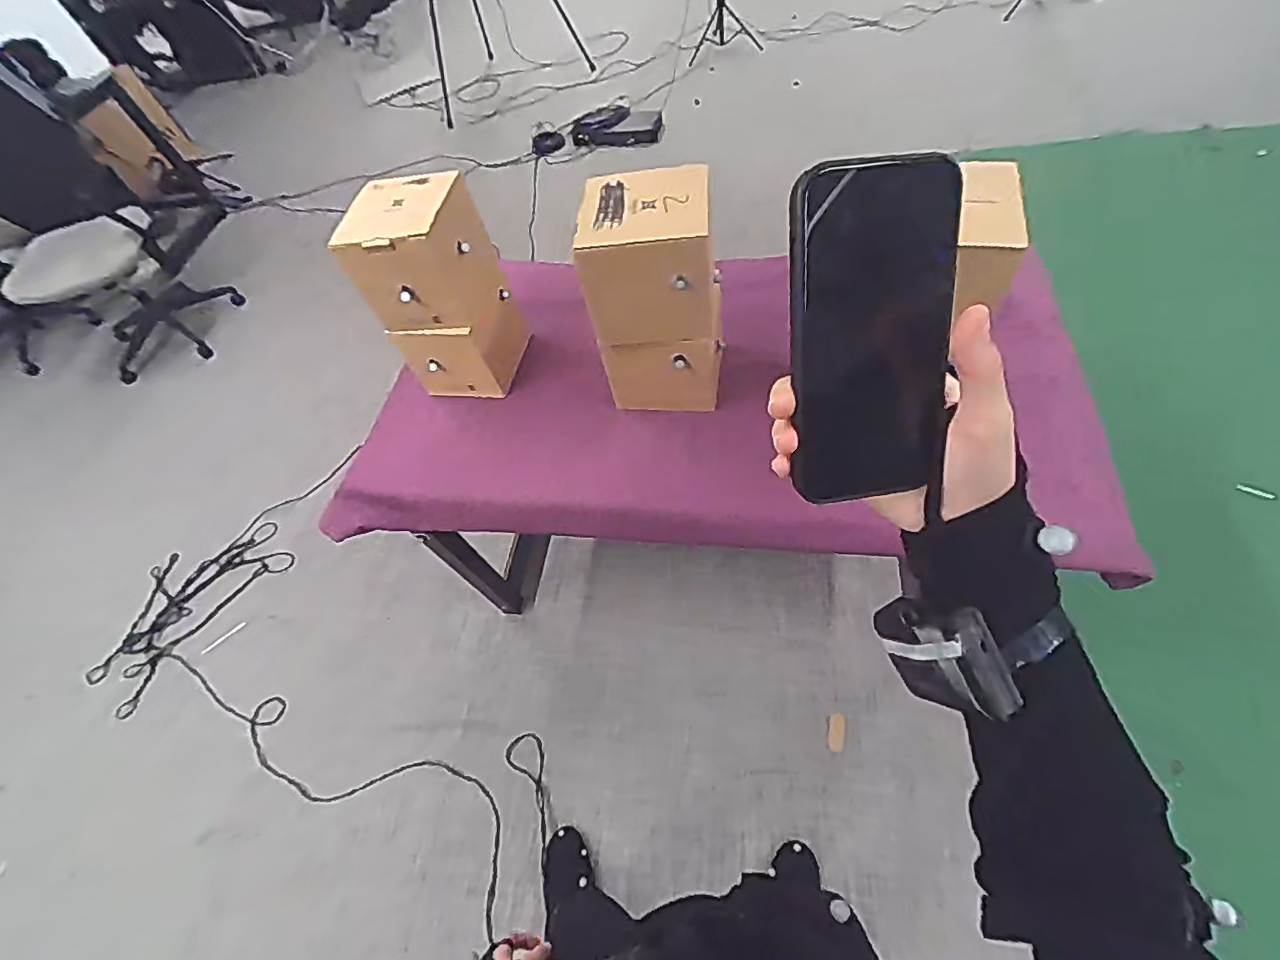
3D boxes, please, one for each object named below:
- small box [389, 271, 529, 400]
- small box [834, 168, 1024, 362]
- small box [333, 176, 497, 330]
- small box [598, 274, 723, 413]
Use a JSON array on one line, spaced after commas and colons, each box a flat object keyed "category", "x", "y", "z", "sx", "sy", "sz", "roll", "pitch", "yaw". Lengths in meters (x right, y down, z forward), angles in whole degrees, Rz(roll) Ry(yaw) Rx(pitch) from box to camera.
[{"category": "small box", "x": -0.329, "y": -0.268, "z": 1.025, "sx": 0.168, "sy": 0.176, "sz": 0.179, "roll": 4, "pitch": 58, "yaw": 14}, {"category": "small box", "x": 0.353, "y": -0.270, "z": 0.692, "sx": 0.179, "sy": 0.176, "sz": 0.168, "roll": 9, "pitch": 59, "yaw": 16}, {"category": "small box", "x": -0.355, "y": -0.364, "z": 0.893, "sx": 0.168, "sy": 0.176, "sz": 0.179, "roll": 0, "pitch": 58, "yaw": 10}, {"category": "small box", "x": 0.046, "y": -0.228, "z": 0.922, "sx": 0.179, "sy": 0.176, "sz": 0.168, "roll": 3, "pitch": 58, "yaw": 14}]
